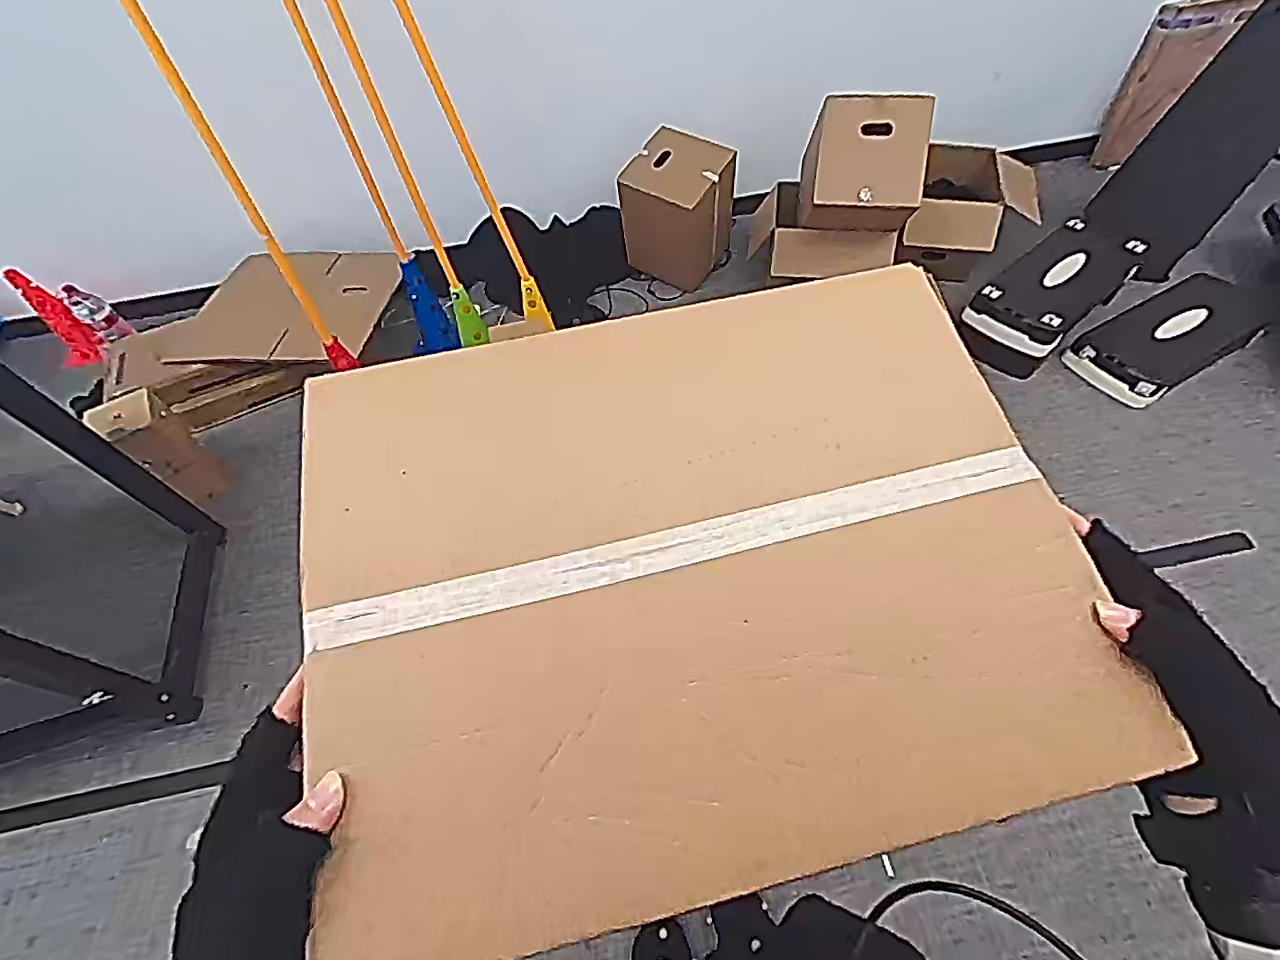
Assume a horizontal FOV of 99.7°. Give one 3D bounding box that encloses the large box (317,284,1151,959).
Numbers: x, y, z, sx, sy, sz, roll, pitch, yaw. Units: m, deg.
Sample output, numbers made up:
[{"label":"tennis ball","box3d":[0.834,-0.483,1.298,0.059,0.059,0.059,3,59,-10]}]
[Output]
[{"label":"large box","box3d":[0.029,0.101,0.439,0.408,0.320,0.320,-13,68,-4]}]
